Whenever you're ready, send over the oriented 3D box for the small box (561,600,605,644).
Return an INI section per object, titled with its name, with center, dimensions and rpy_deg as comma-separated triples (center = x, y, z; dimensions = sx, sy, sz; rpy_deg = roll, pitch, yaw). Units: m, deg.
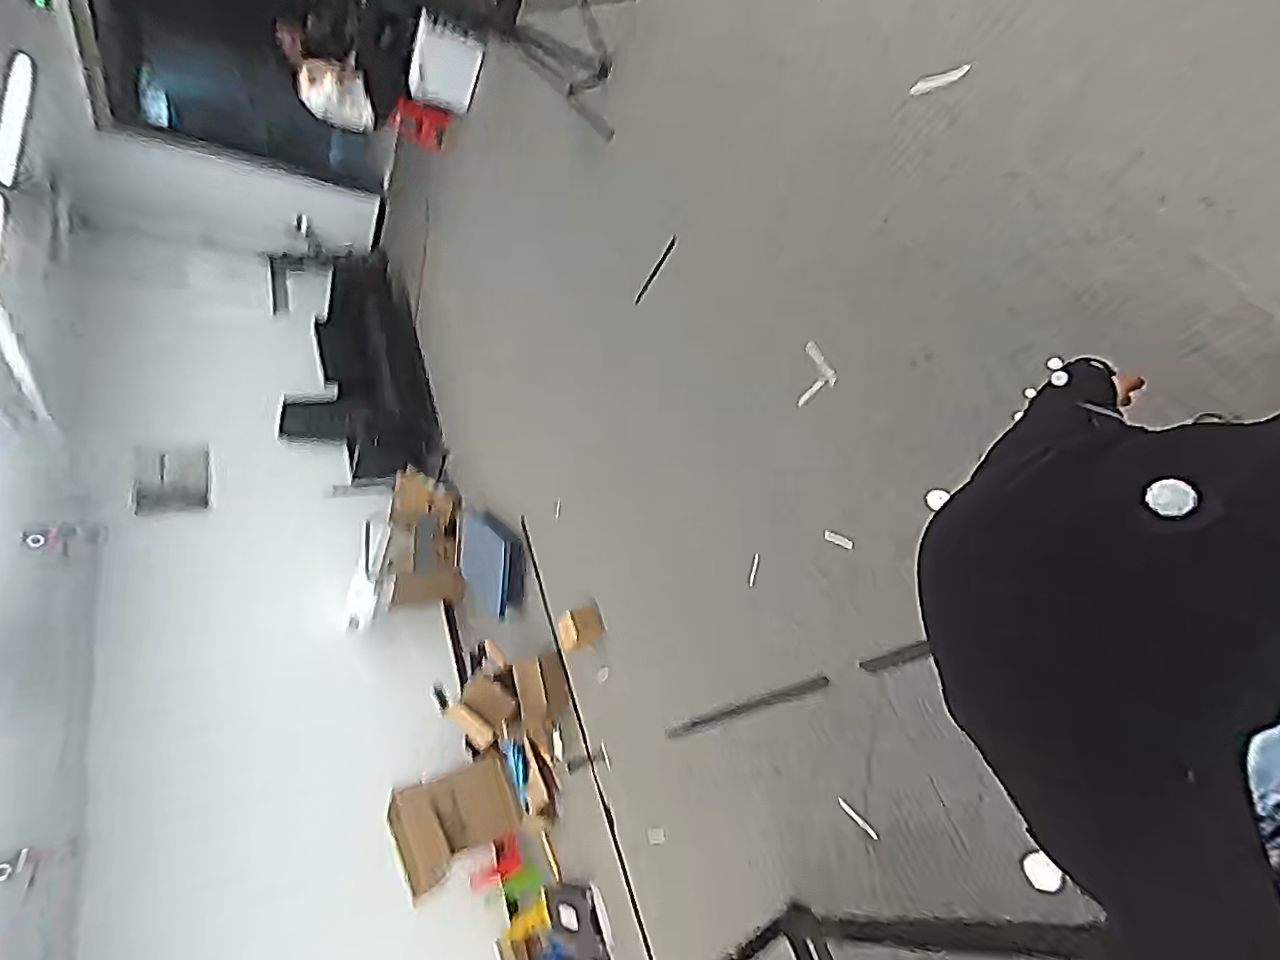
[small box]
center = -0.315, 0.786, 3.009
dimensions = 0.179, 0.176, 0.168
rpy_deg = -55, 51, 41
